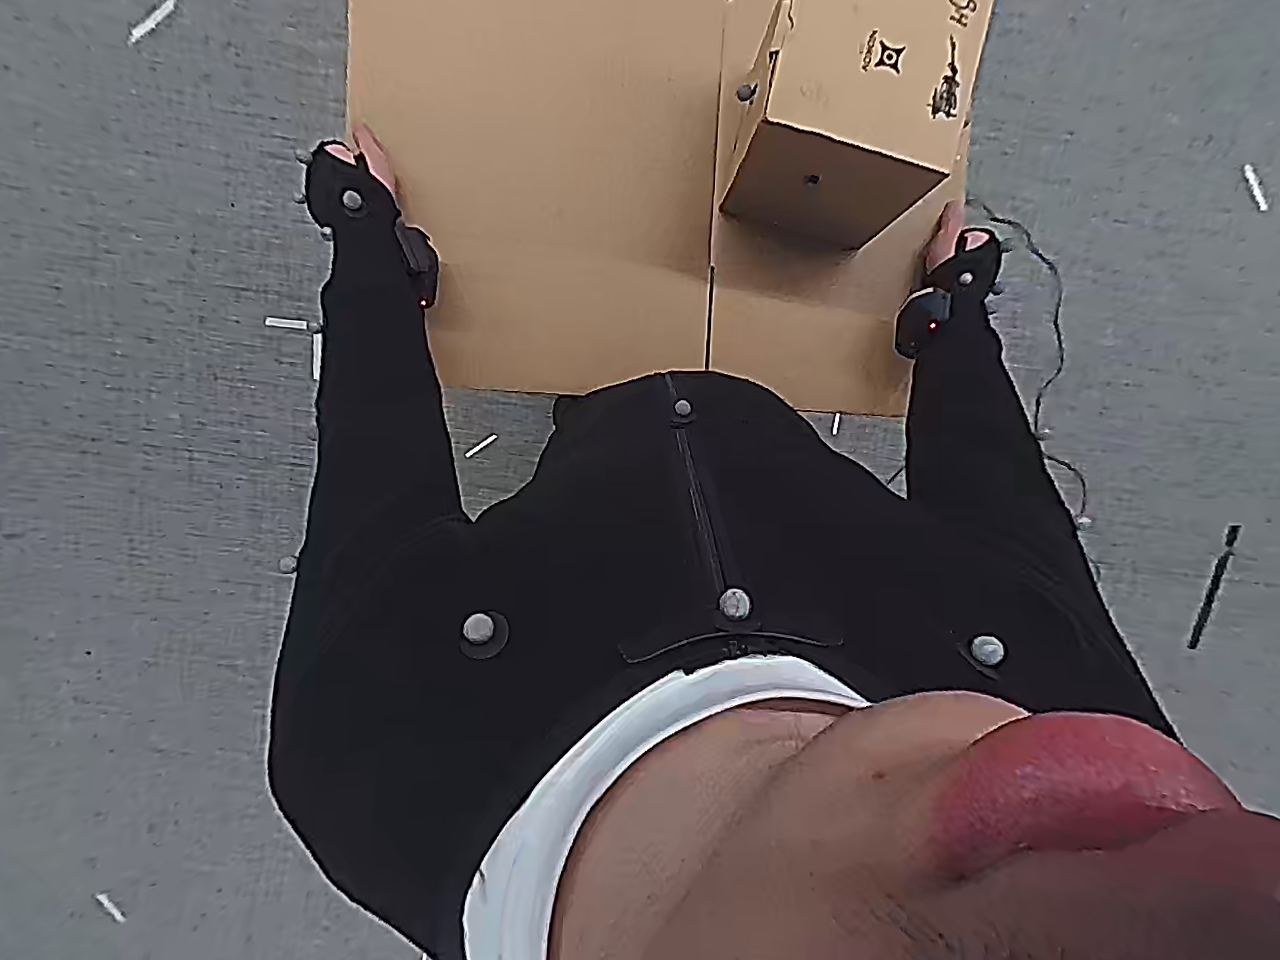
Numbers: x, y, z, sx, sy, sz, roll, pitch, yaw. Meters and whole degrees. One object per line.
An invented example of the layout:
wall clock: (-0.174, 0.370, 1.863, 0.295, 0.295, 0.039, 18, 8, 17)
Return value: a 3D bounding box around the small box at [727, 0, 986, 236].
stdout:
small box: (0.200, -0.375, 0.549, 0.179, 0.176, 0.168, 13, 91, -3)
